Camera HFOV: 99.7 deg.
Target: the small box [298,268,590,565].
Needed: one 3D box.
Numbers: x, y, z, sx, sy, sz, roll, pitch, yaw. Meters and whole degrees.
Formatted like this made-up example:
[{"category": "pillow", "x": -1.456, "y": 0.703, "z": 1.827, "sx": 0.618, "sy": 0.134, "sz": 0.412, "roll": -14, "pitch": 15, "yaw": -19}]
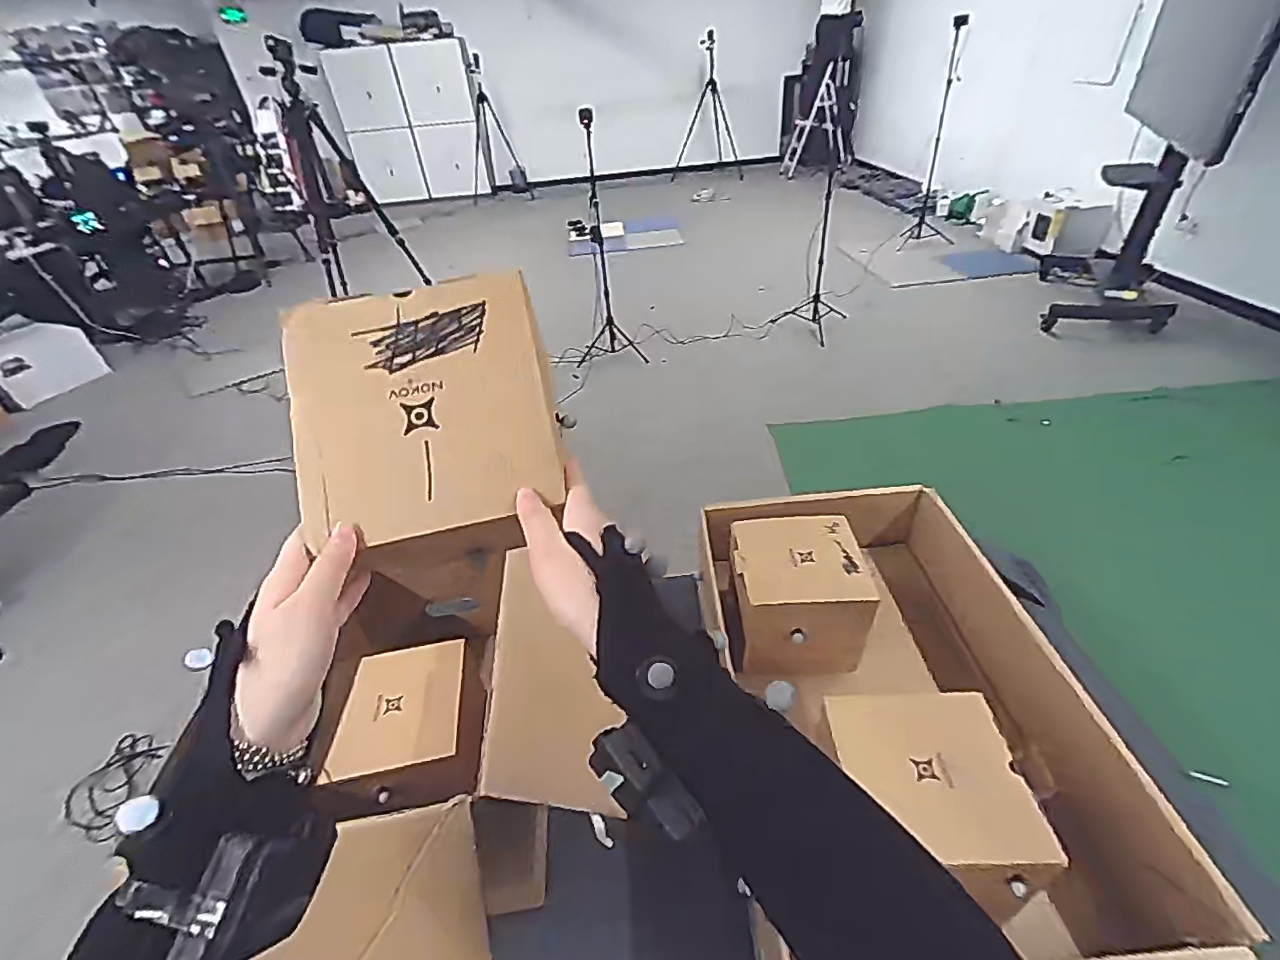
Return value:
[{"category": "small box", "x": -0.138, "y": -0.035, "z": 0.435, "sx": 0.168, "sy": 0.176, "sz": 0.179, "roll": -12, "pitch": 80, "yaw": -4}]
